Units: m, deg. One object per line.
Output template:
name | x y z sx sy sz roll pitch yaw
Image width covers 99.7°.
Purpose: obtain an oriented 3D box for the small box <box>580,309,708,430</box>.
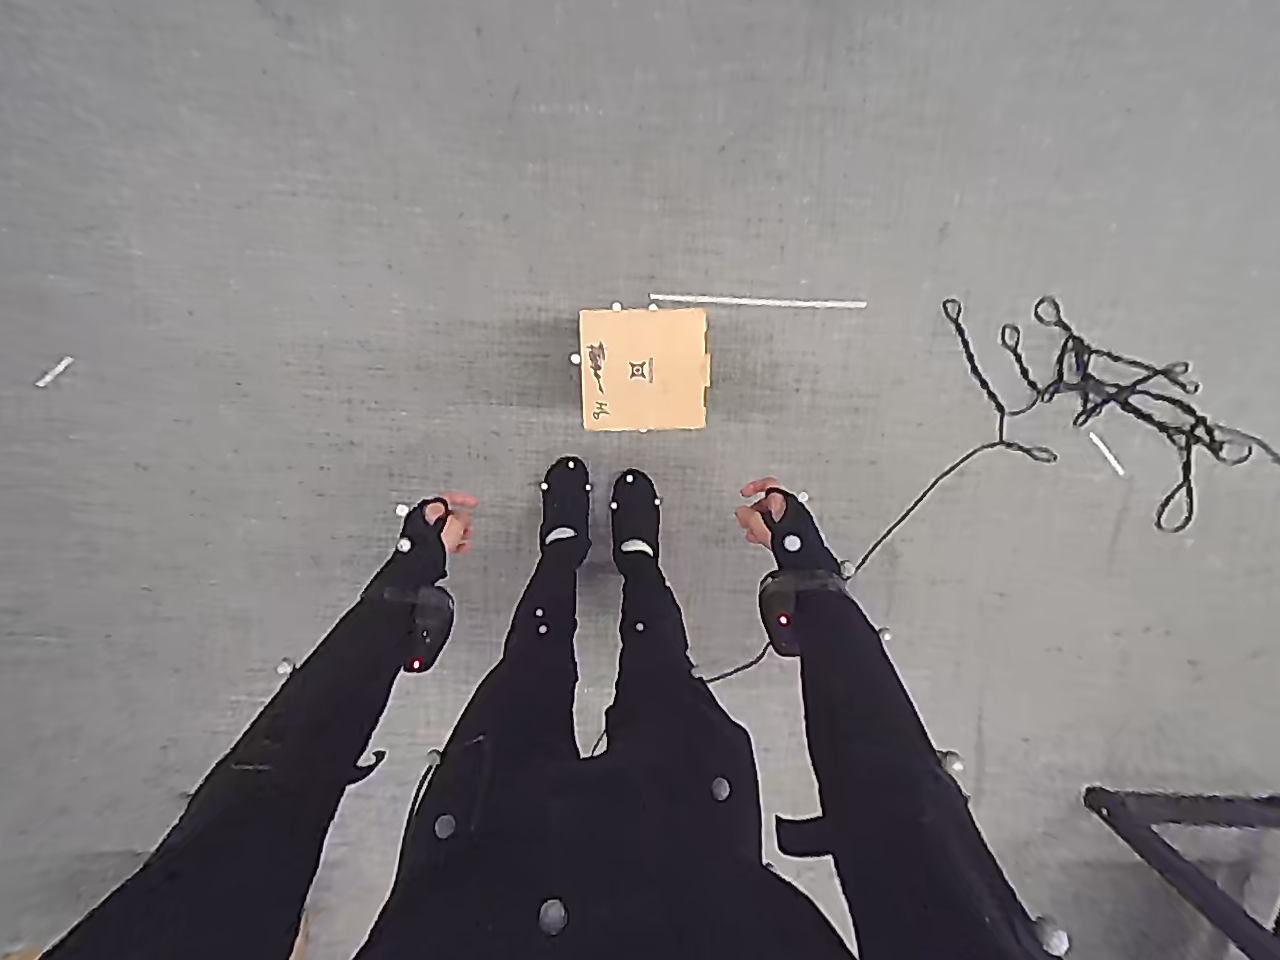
small box | 0.003 -0.168 0.826 0.179 0.176 0.168 -1 101 -1
